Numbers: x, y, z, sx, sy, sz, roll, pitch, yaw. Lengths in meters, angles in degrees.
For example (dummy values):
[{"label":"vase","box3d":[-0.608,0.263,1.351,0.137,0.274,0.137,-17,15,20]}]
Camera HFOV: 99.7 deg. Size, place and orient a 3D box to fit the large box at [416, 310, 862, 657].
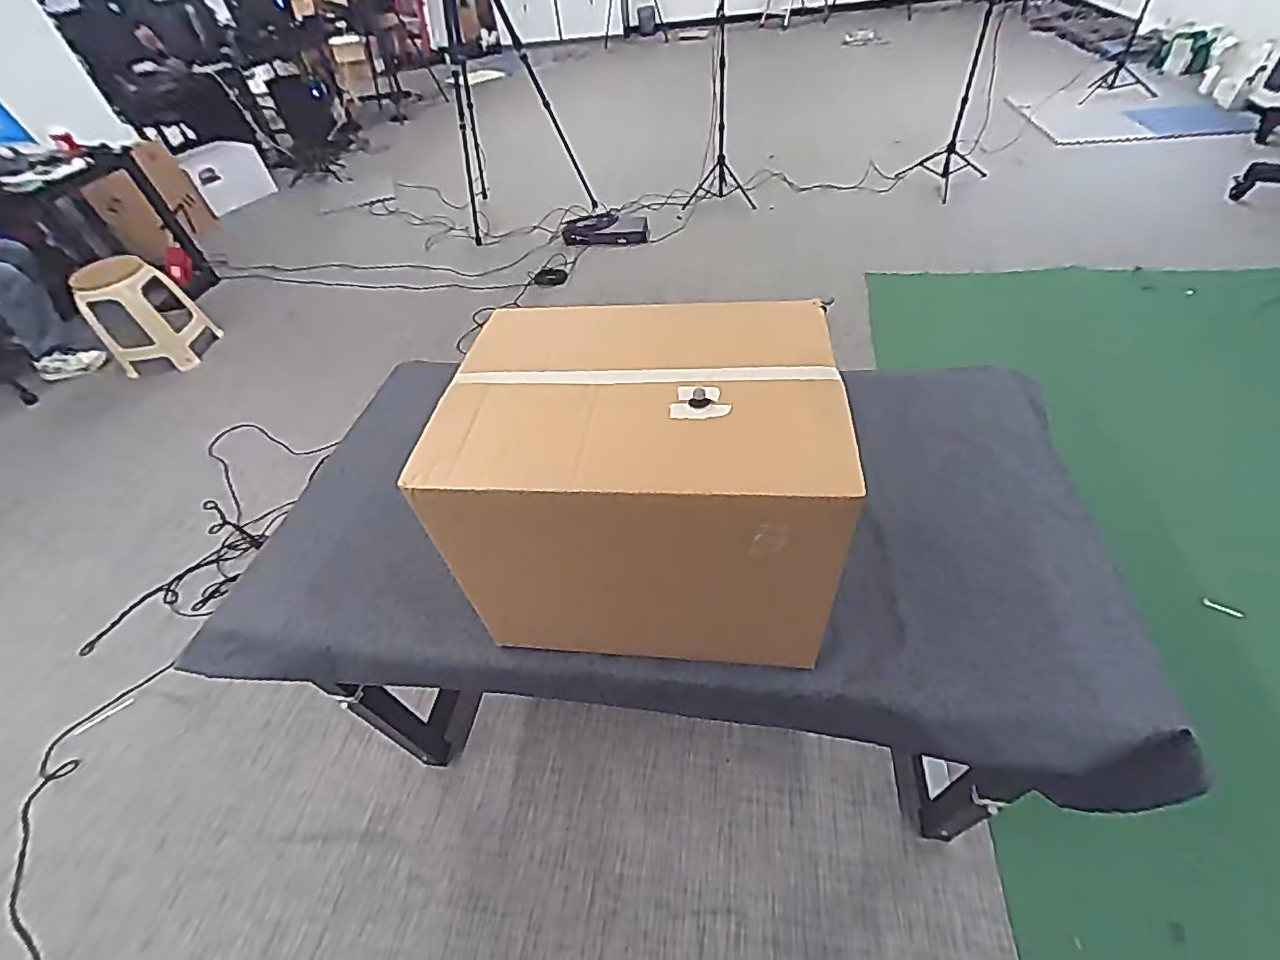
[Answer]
[{"label":"large box","box3d":[0.014,0.005,0.678,0.408,0.320,0.320,1,46,8]}]
